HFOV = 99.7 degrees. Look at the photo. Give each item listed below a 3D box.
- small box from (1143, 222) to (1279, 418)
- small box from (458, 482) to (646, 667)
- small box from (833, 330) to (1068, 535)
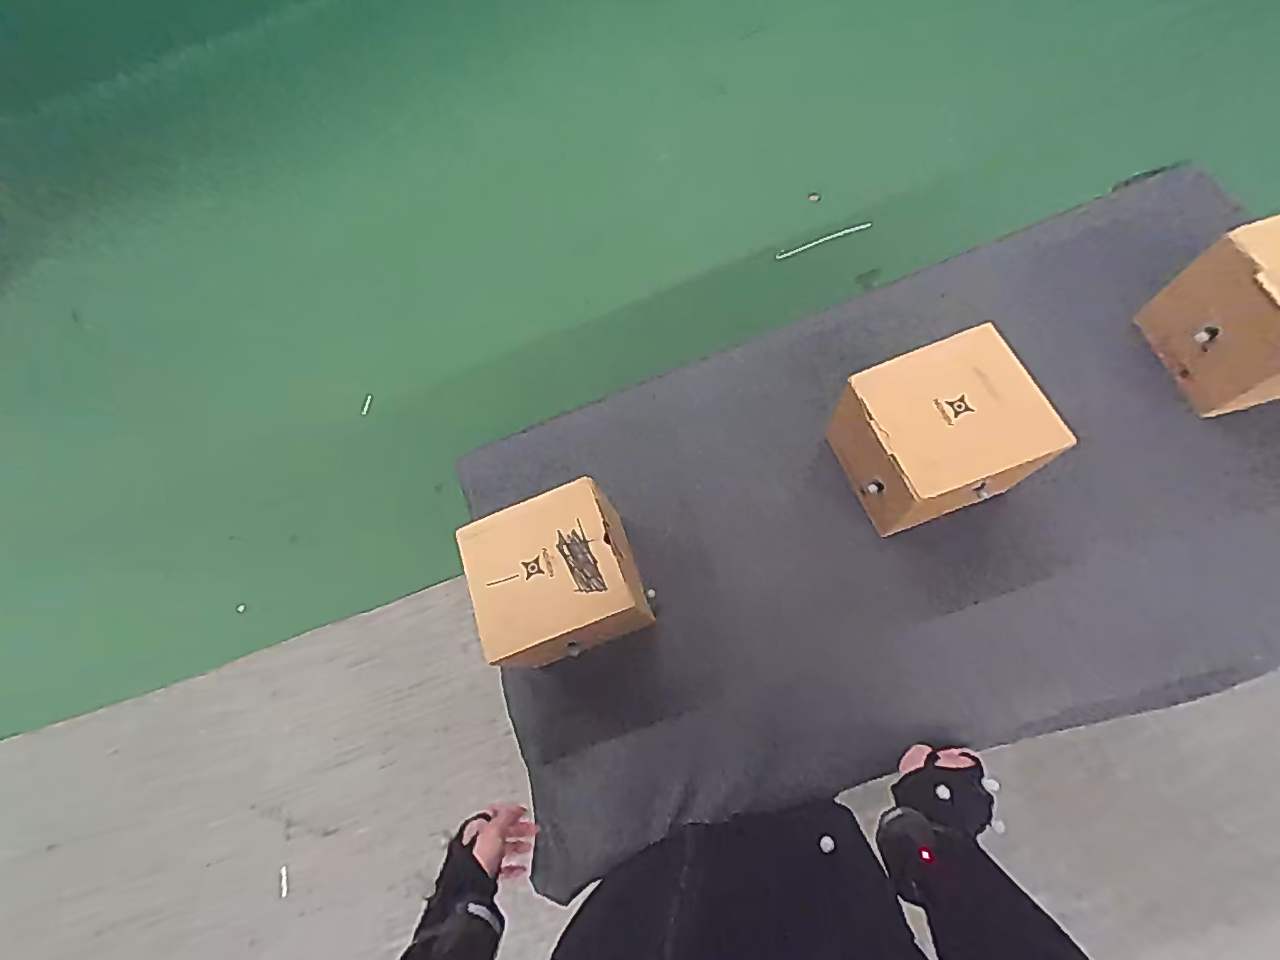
[{"bbox_3d":[0.768,-0.194,0.647,0.179,0.176,0.168,-15,69,5],"label":"small box"},{"bbox_3d":[-0.099,0.127,0.686,0.179,0.176,0.168,-22,68,2],"label":"small box"},{"bbox_3d":[0.357,-0.047,0.672,0.179,0.176,0.168,-21,70,1],"label":"small box"}]
